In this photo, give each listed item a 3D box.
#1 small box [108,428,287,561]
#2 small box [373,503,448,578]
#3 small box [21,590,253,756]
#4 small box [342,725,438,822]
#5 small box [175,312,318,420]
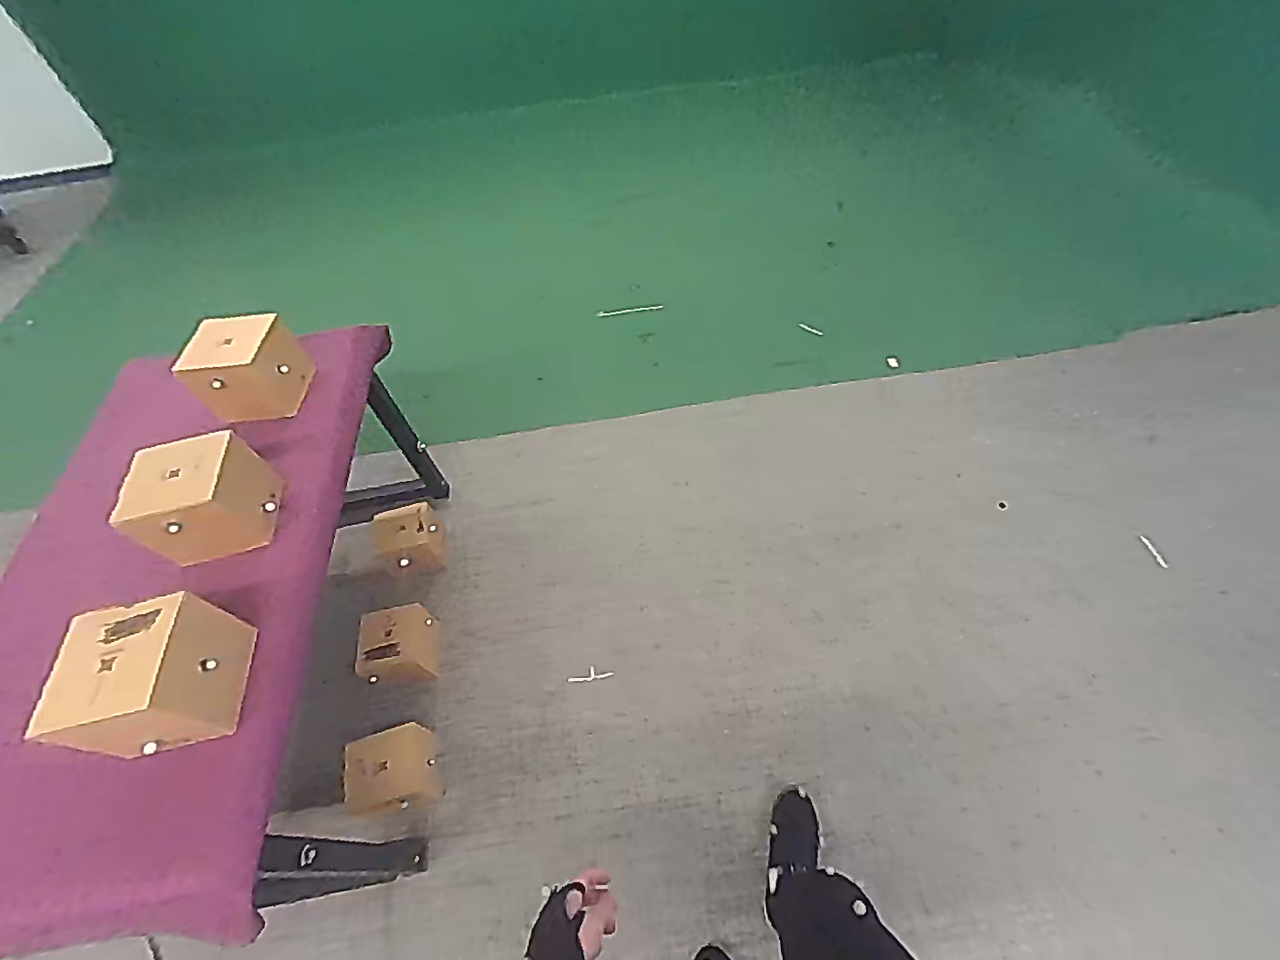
[{"bbox_3d":[-0.813,0.033,1.015,0.179,0.176,0.168,-13,55,-3],"label":"small box"},{"bbox_3d":[-0.752,0.204,1.784,0.179,0.176,0.168,-15,54,-5],"label":"small box"},{"bbox_3d":[-0.729,0.293,0.814,0.168,0.176,0.179,-13,54,-2],"label":"small box"},{"bbox_3d":[-0.625,0.749,1.375,0.179,0.176,0.168,-16,54,-6],"label":"small box"},{"bbox_3d":[-0.879,-0.255,1.231,0.179,0.176,0.168,-5,55,4],"label":"small box"}]
